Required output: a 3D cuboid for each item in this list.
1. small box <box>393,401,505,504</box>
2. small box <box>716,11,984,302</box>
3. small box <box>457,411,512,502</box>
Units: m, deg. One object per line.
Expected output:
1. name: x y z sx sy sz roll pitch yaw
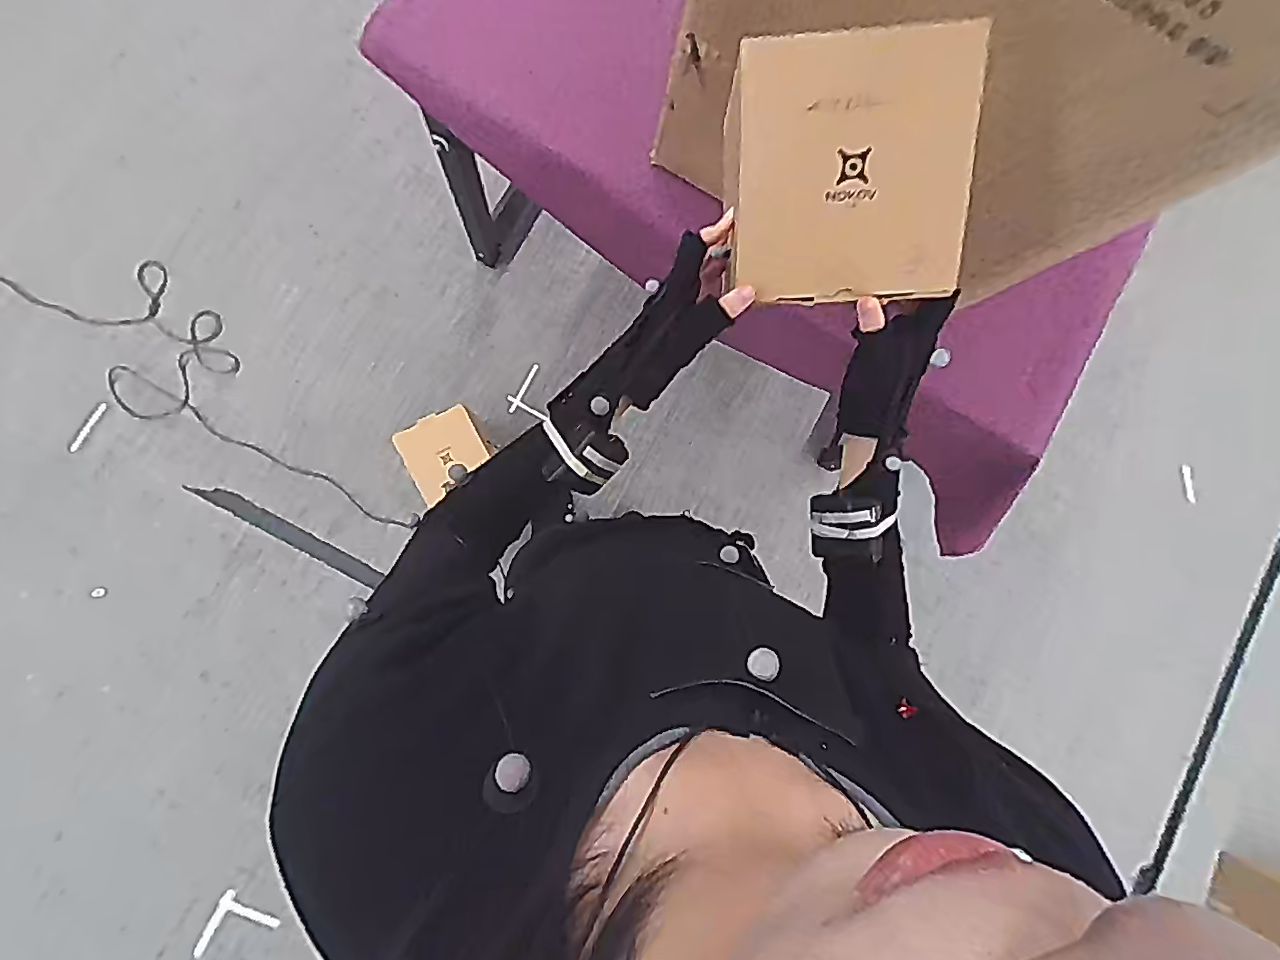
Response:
1. small box: -0.423 -0.054 1.224 0.168 0.176 0.179 -27 91 -8
2. small box: 0.156 -0.248 0.463 0.168 0.176 0.179 -2 106 4
3. small box: -0.446 -0.052 1.387 0.168 0.176 0.179 -29 92 -8
